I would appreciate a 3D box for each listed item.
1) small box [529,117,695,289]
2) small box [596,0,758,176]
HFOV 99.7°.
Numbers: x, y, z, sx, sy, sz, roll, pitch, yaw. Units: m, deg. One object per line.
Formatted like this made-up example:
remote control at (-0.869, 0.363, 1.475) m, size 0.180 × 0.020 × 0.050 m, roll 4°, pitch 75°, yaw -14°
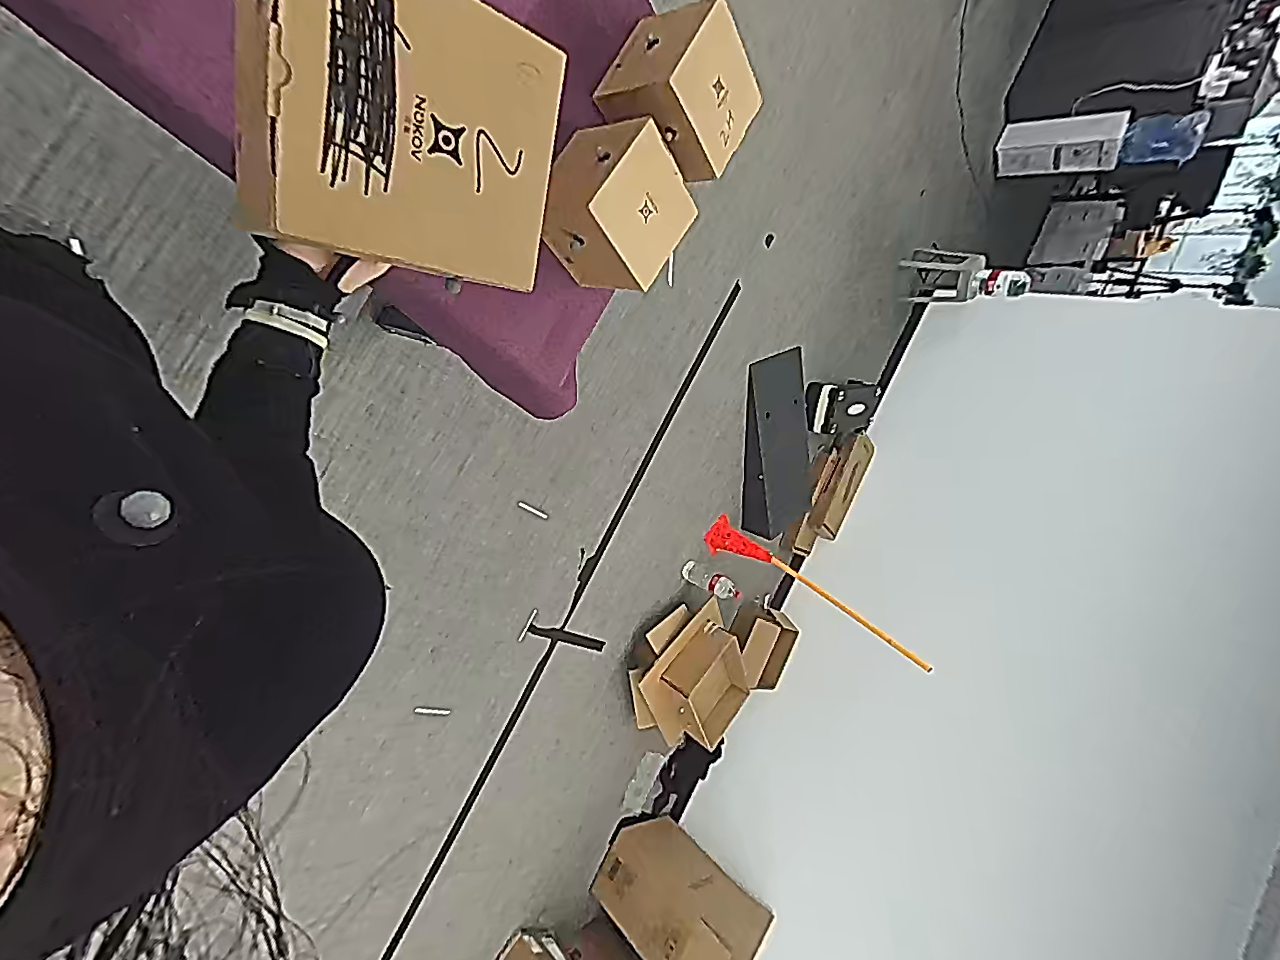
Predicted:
small box at (-0.049, -0.430, 0.862) m, size 0.179 × 0.176 × 0.168 m, roll -60°, pitch 139°, yaw -11°
small box at (0.059, -0.624, 0.884) m, size 0.179 × 0.176 × 0.168 m, roll 38°, pitch 79°, yaw -50°
